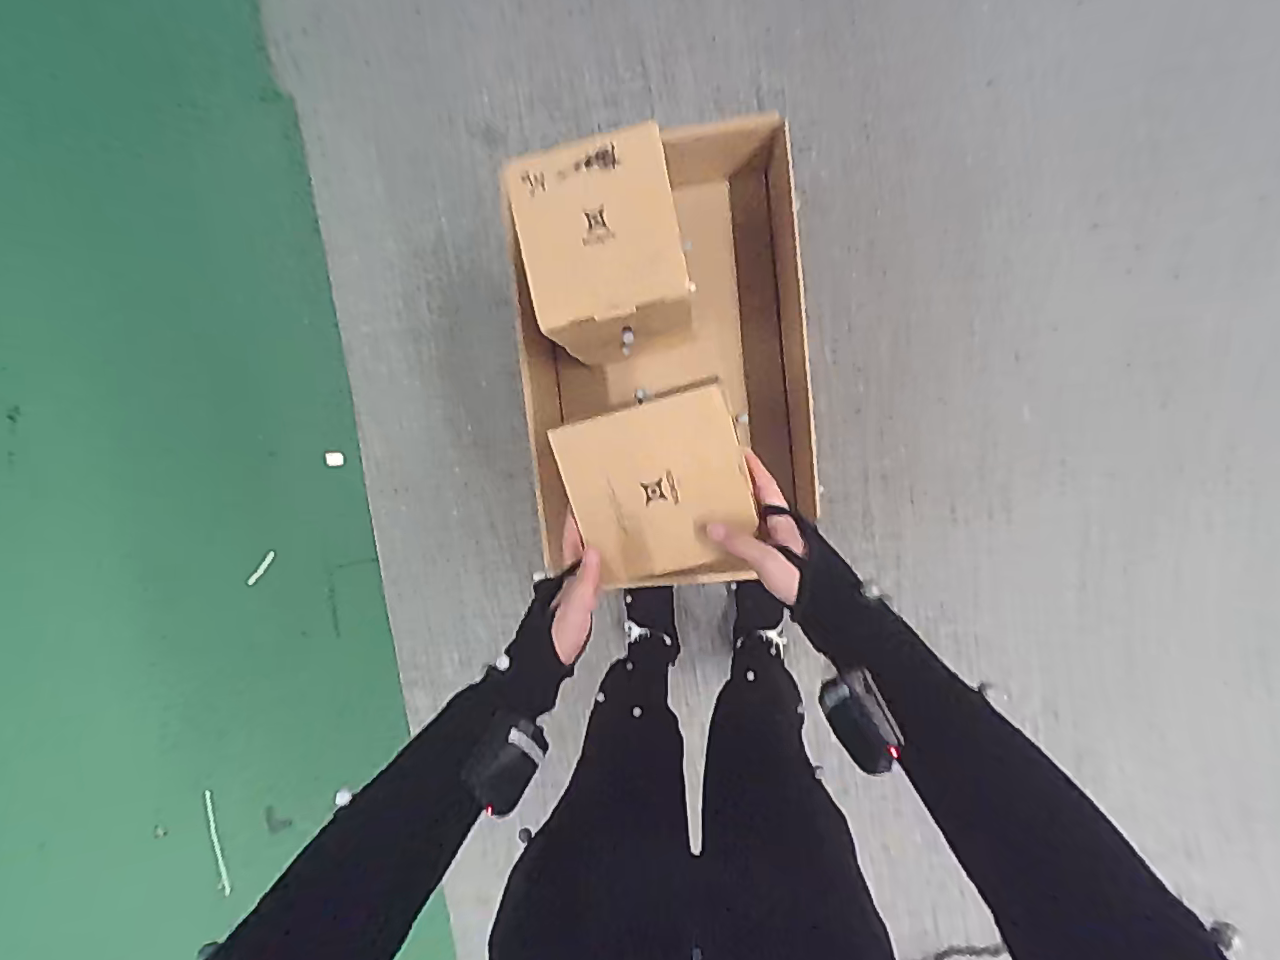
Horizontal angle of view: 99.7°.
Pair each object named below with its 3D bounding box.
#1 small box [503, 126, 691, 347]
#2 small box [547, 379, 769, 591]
[{"bbox_3d":[-0.036,-0.260,0.630,0.168,0.176,0.179,-11,94,7],"label":"small box"},{"bbox_3d":[0.025,-0.006,0.580,0.179,0.176,0.168,-15,101,10],"label":"small box"}]
